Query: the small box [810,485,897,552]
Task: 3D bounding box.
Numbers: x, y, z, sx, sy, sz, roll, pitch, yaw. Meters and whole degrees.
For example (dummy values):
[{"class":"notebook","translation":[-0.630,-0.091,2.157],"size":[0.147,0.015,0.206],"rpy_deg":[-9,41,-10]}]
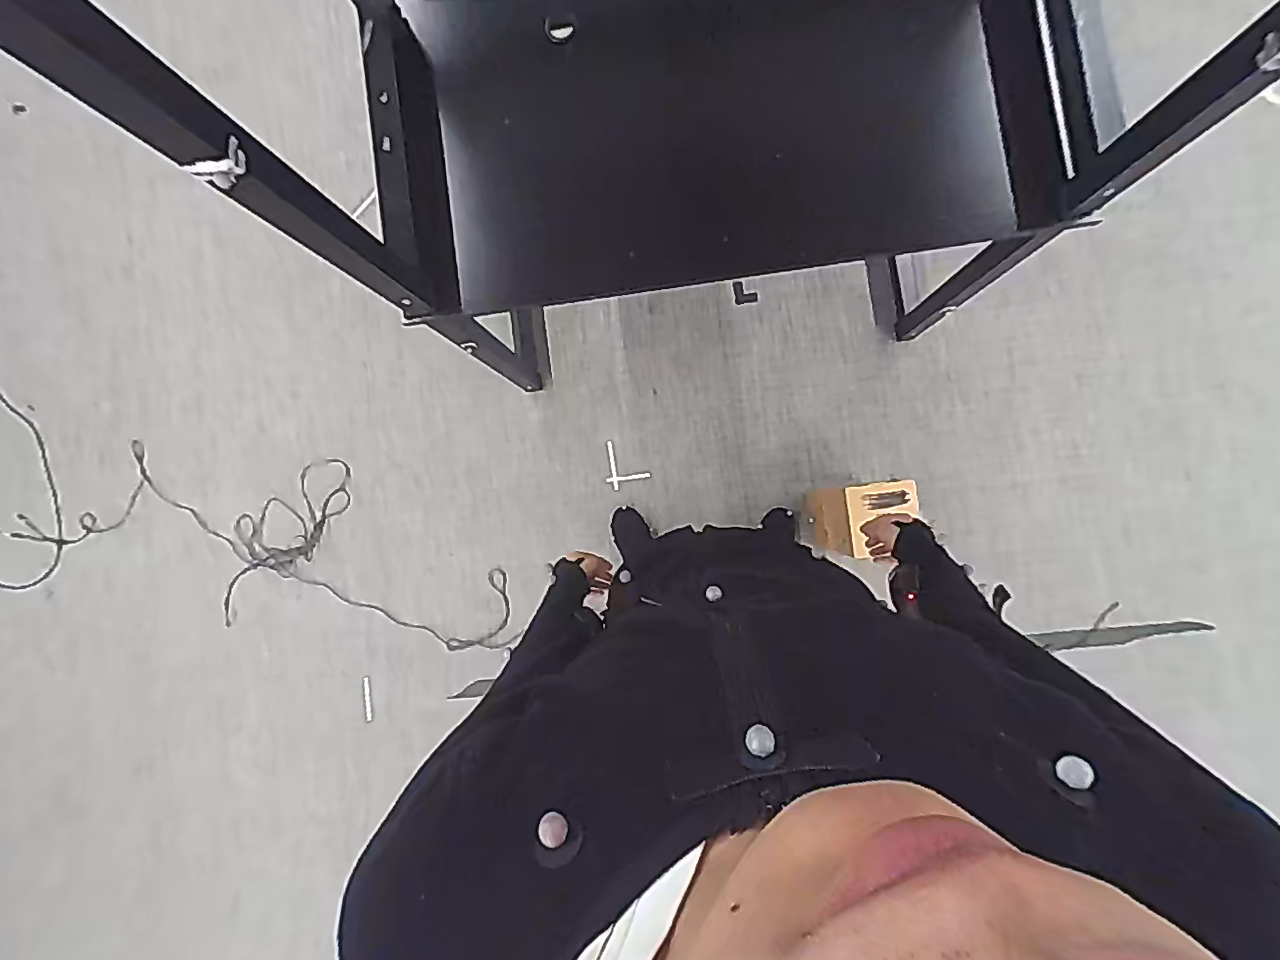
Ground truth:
[{"class":"small box","translation":[0.595,0.105,1.524],"size":[0.179,0.176,0.168],"rpy_deg":[-9,87,5]}]
